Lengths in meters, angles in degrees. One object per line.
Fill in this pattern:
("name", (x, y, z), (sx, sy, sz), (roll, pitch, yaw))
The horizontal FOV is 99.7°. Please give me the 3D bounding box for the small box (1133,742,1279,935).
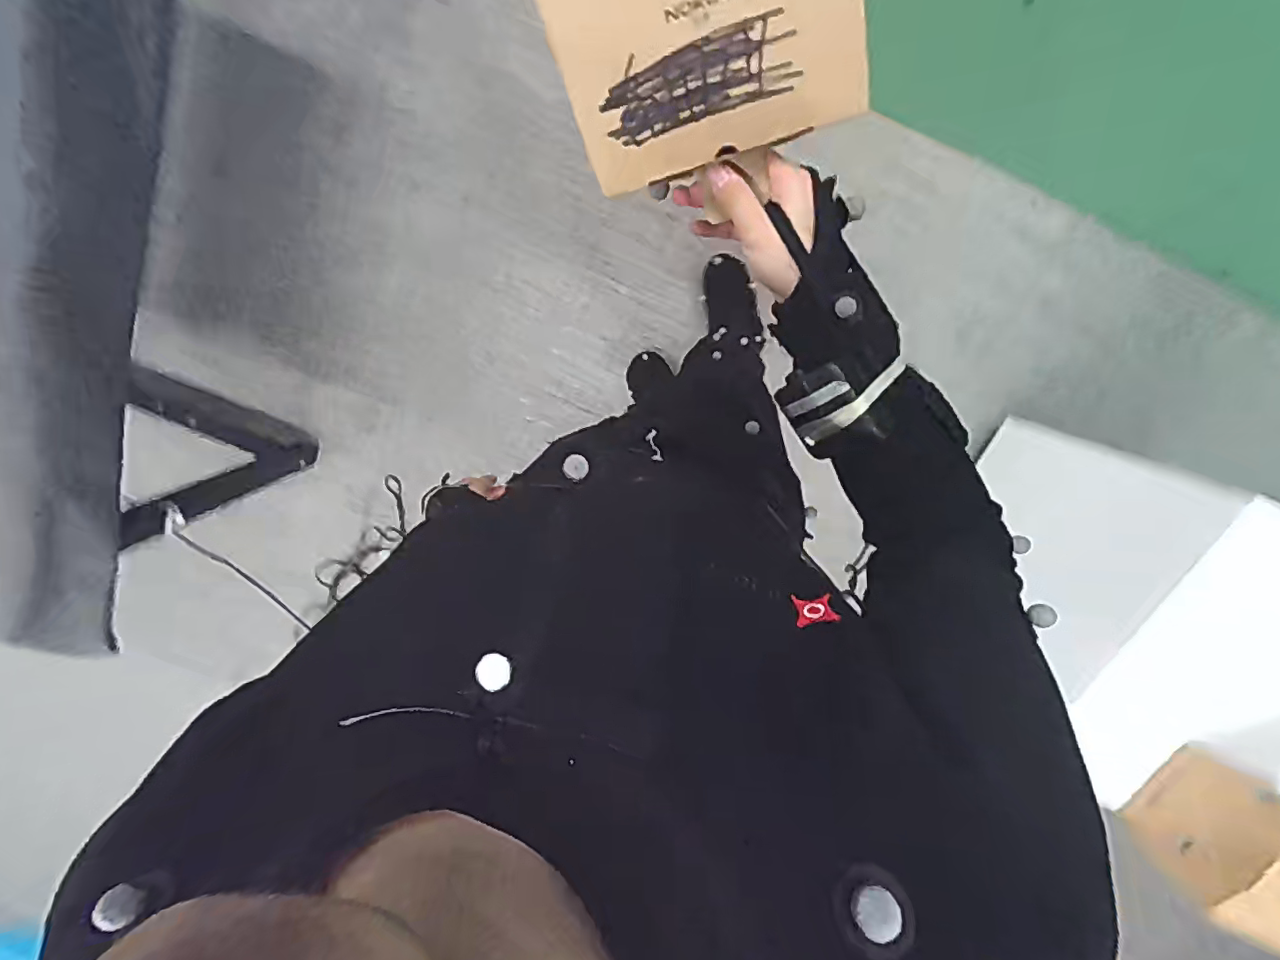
("small box", (0.897, 0.520, 0.788), (0.179, 0.176, 0.168), (23, 108, -5))
